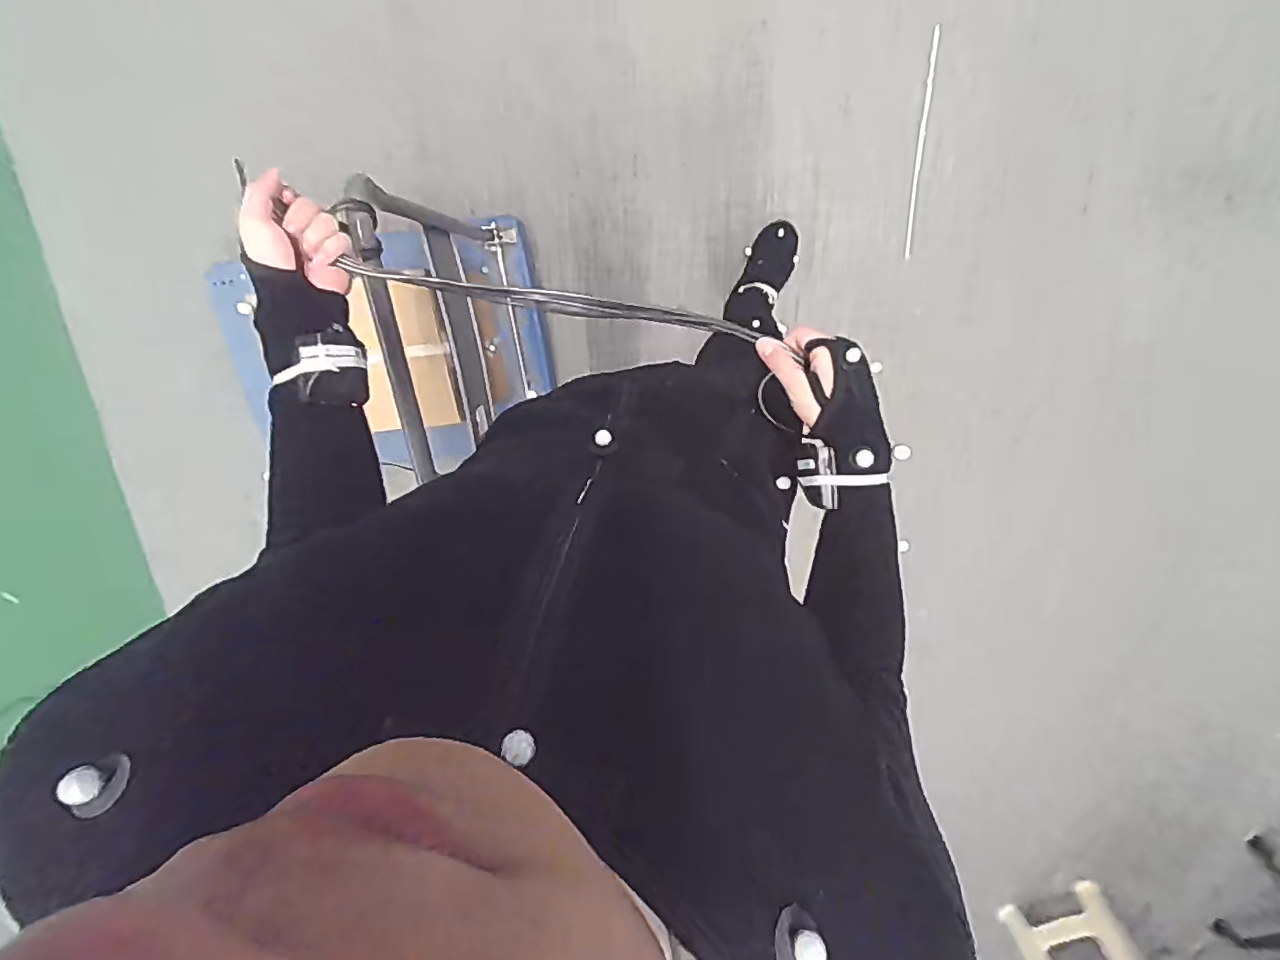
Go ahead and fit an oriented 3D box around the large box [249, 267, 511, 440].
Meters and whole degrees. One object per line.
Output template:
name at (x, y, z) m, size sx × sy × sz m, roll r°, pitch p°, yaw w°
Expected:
large box at (-0.568, -0.298, 1.257) m, size 0.408 × 0.320 × 0.320 m, roll -4°, pitch 108°, yaw 10°
